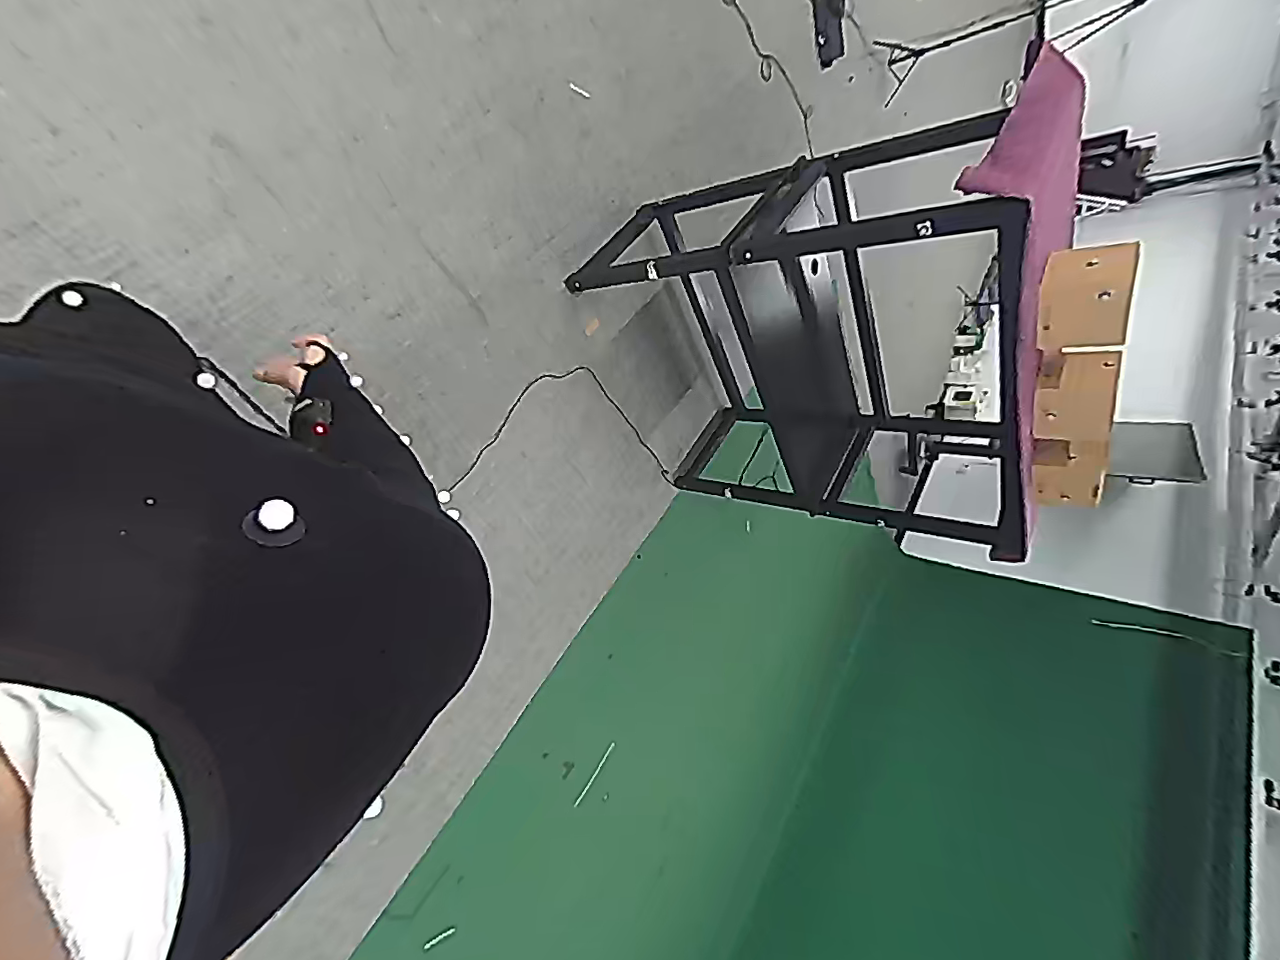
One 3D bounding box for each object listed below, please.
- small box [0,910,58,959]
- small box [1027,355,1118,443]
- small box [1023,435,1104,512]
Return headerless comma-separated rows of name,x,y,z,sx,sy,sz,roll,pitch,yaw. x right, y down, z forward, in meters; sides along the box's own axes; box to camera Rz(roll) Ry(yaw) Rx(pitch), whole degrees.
small box,-1.307,0.988,1.056,0.179,0.176,0.168,-50,131,-30
small box,1.159,-0.223,1.459,0.168,0.176,0.179,-55,134,-28
small box,1.271,-0.031,1.628,0.179,0.176,0.168,-50,131,-30
